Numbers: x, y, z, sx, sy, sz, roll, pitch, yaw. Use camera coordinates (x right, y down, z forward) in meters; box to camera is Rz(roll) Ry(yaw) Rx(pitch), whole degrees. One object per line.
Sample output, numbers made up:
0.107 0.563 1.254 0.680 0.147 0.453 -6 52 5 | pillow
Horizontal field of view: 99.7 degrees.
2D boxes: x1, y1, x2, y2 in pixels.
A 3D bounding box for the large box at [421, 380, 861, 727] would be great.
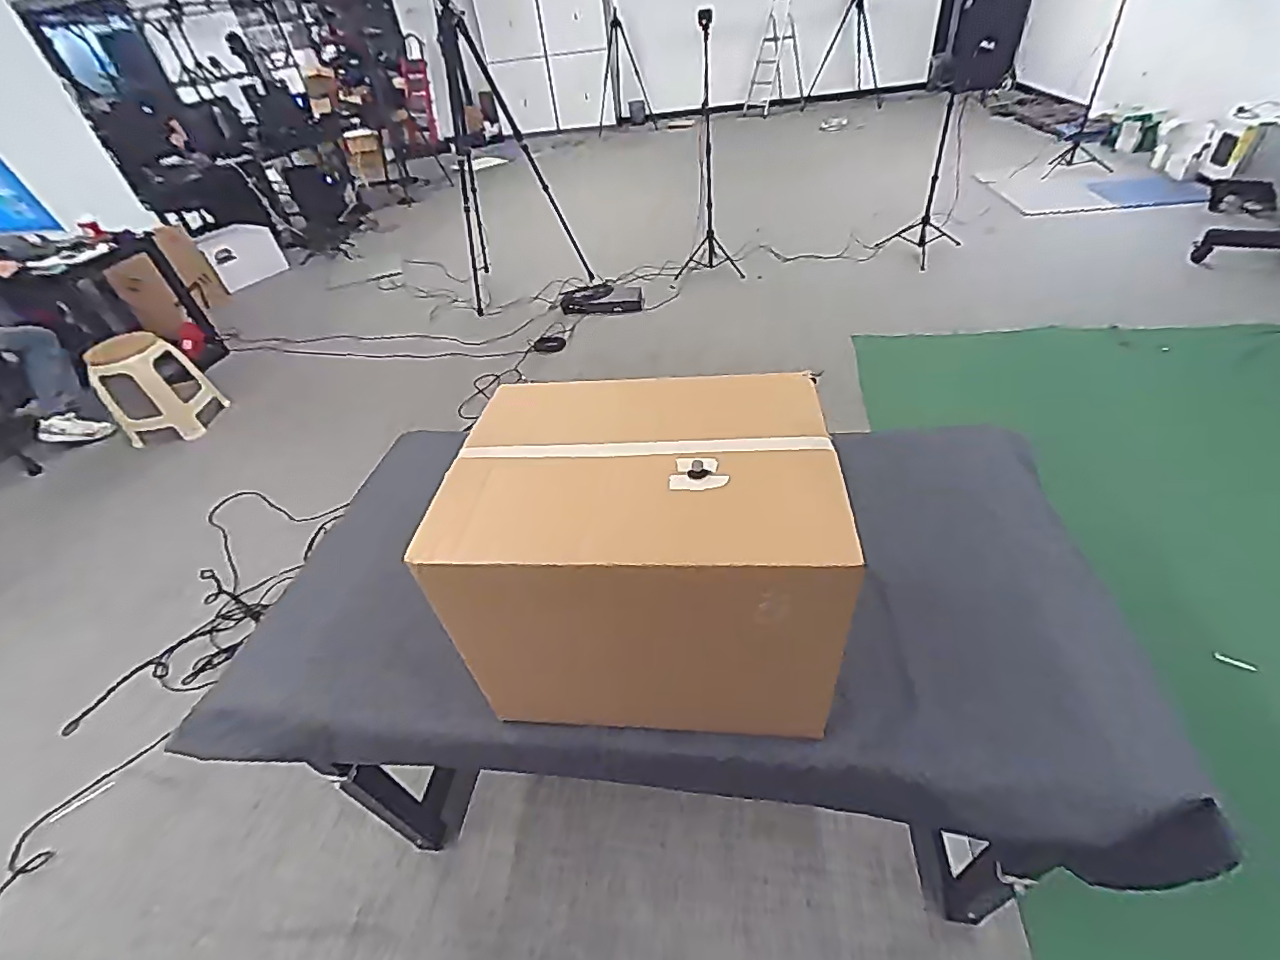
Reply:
0.016 0.089 0.684 0.408 0.320 0.320 -1 40 8 | large box
